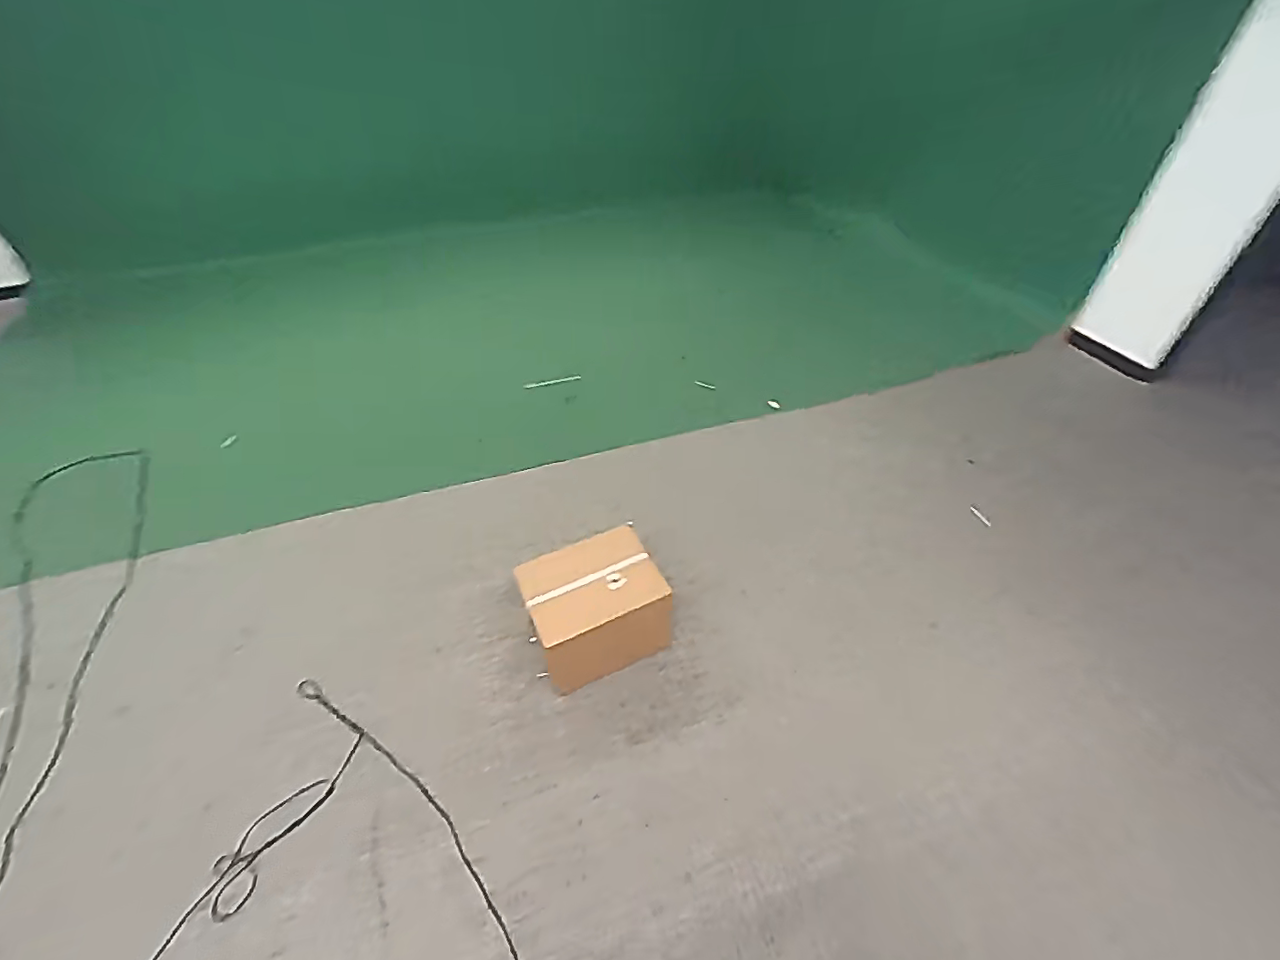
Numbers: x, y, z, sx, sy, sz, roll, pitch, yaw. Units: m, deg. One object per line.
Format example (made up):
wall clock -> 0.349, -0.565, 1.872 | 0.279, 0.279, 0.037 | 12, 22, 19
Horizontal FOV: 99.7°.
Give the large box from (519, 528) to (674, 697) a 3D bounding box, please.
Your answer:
large box -> -0.134, 0.424, 1.751 | 0.408, 0.320, 0.320 | -20, 46, -18
